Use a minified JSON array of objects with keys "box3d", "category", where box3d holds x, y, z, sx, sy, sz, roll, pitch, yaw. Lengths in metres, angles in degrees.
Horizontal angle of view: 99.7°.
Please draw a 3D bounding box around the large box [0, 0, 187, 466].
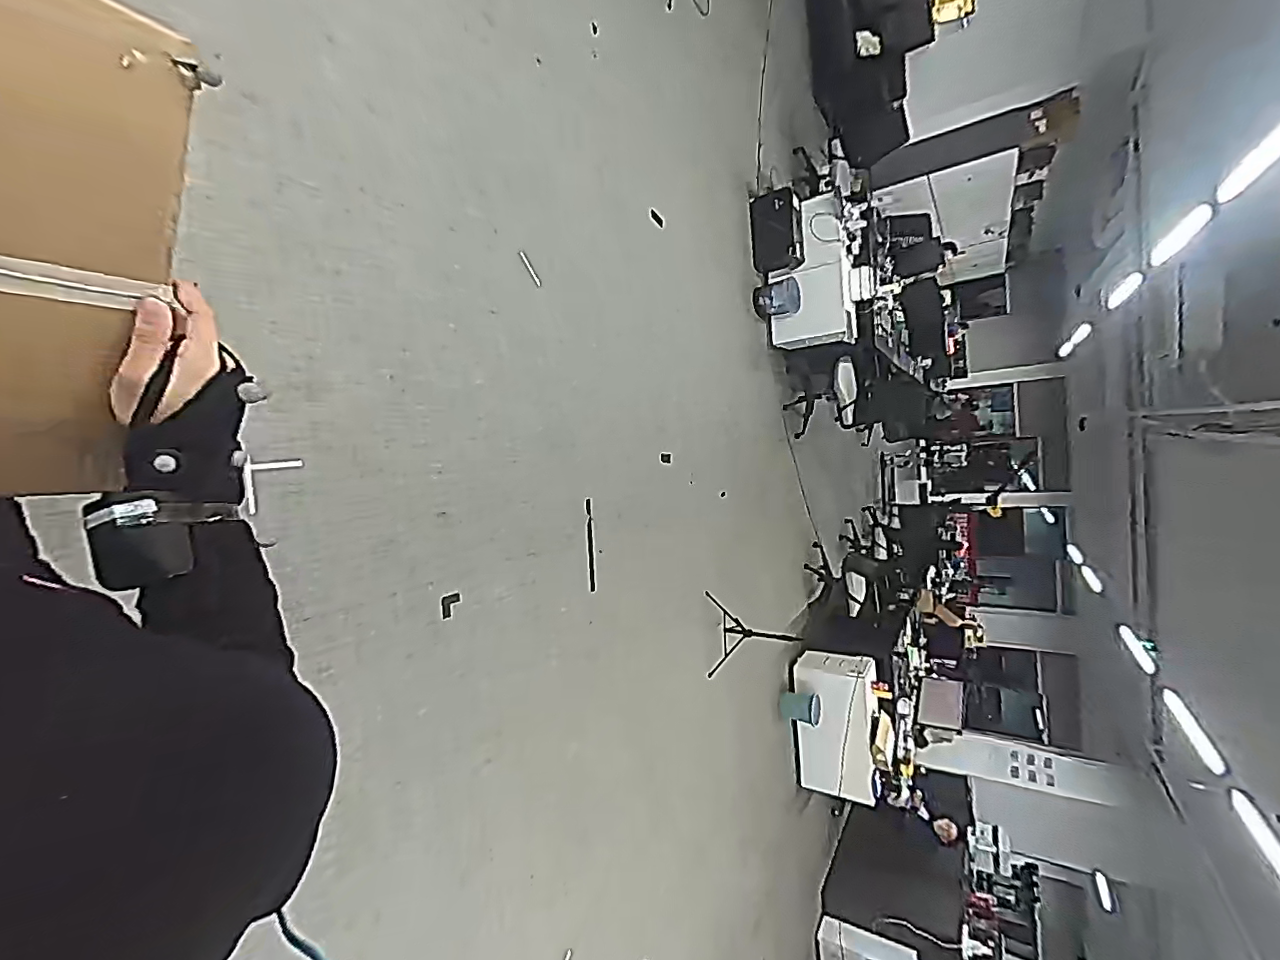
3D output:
[{"box3d":[-0.557,-0.208,0.288,0.408,0.320,0.320,-6,128,-55],"category":"large box"}]
